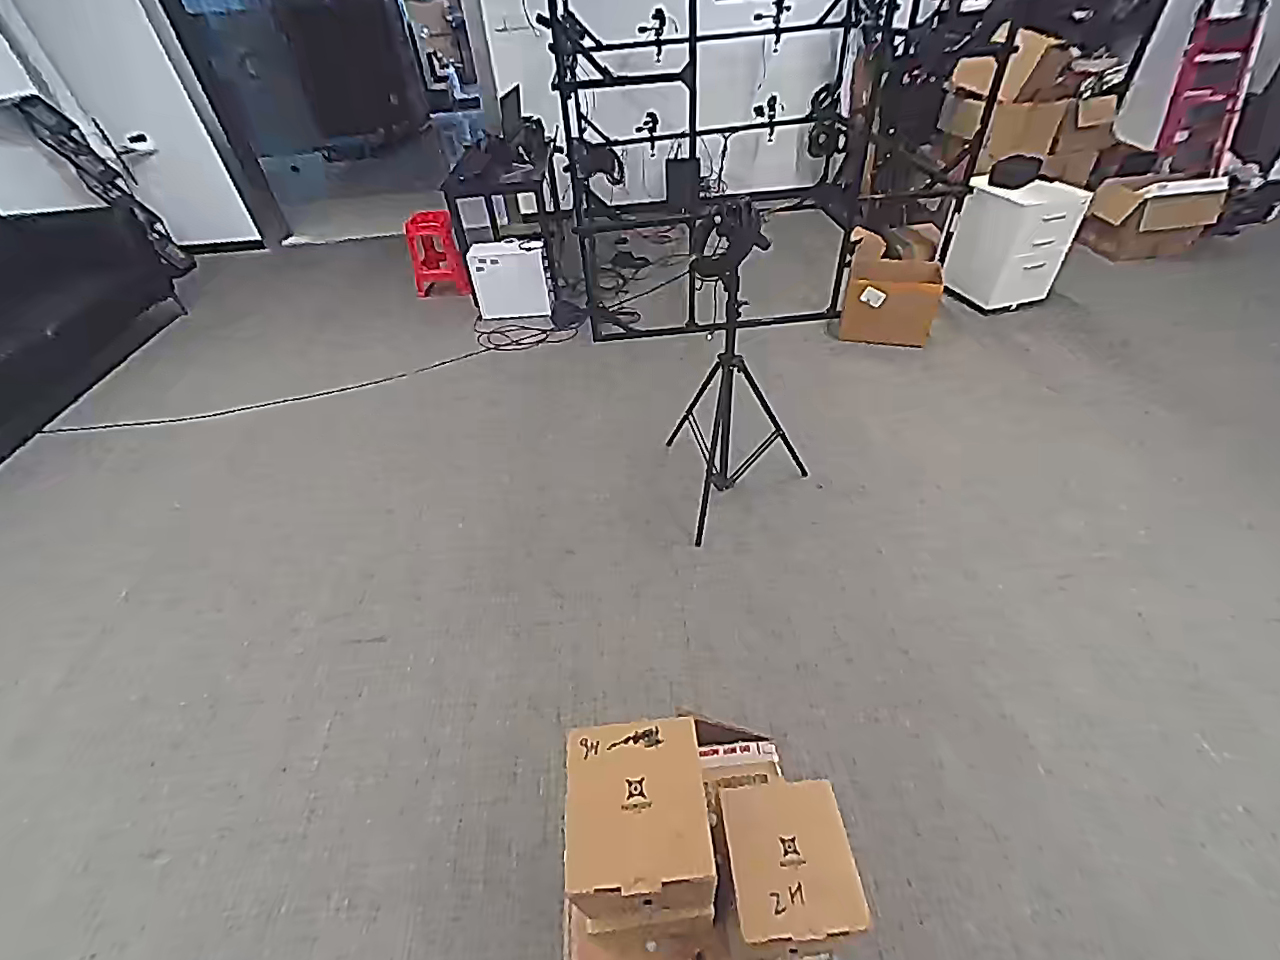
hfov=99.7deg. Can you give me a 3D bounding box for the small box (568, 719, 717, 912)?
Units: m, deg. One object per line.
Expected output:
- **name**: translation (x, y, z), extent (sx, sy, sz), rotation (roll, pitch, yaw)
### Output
- **small box**: translation (0.005, 0.433, 0.693), extent (0.168, 0.176, 0.179), rotation (-7, 45, 0)

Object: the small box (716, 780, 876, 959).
- **small box**: translation (0.208, 0.561, 0.780), extent (0.168, 0.176, 0.179), rotation (-5, 44, -2)

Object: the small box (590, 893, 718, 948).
- **small box**: translation (0.015, 0.559, 0.798), extent (0.168, 0.176, 0.179), rotation (-8, 45, -2)
